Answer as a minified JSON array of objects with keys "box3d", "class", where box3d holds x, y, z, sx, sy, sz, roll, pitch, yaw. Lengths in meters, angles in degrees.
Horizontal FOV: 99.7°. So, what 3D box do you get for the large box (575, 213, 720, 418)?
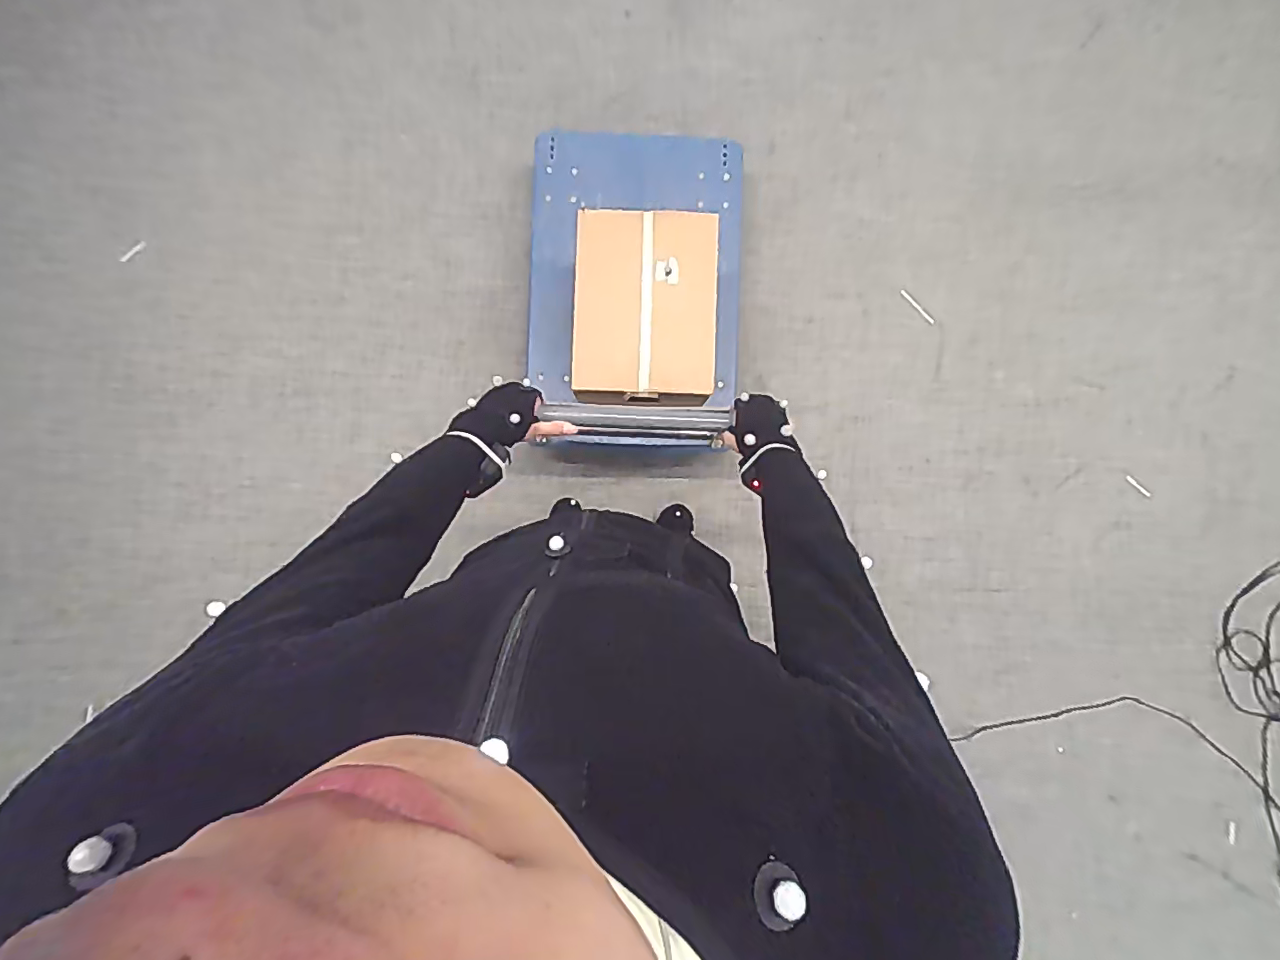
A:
[{"box3d":[0.016,-0.373,1.319,0.320,0.320,0.408,2,87,-1],"class":"large box"}]
